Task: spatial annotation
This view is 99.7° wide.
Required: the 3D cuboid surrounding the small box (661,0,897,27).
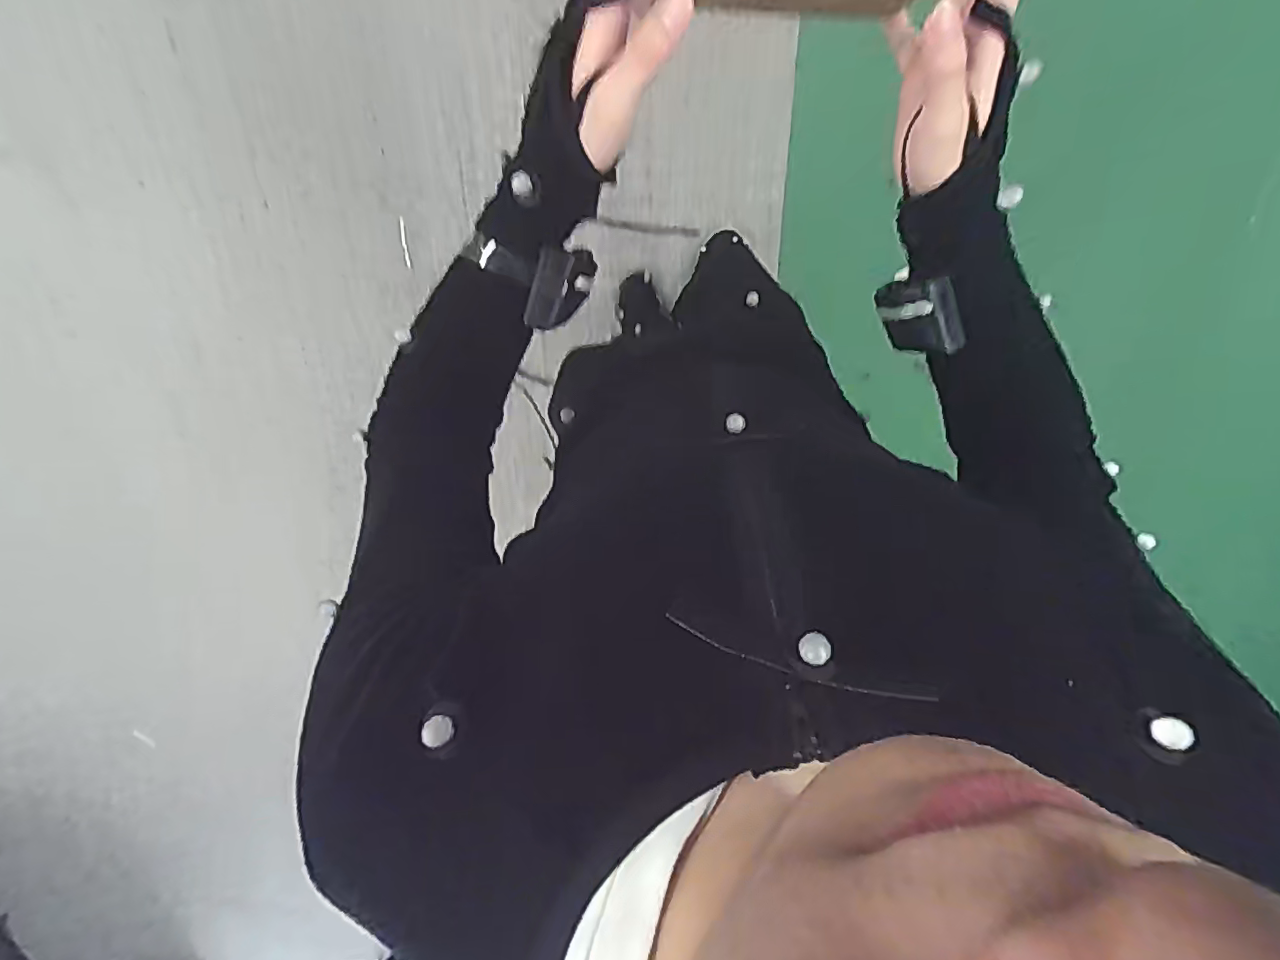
[{"bbox_3d":[0.100,-0.378,0.292,0.179,0.176,0.168,2,114,-2],"label":"small box"}]
